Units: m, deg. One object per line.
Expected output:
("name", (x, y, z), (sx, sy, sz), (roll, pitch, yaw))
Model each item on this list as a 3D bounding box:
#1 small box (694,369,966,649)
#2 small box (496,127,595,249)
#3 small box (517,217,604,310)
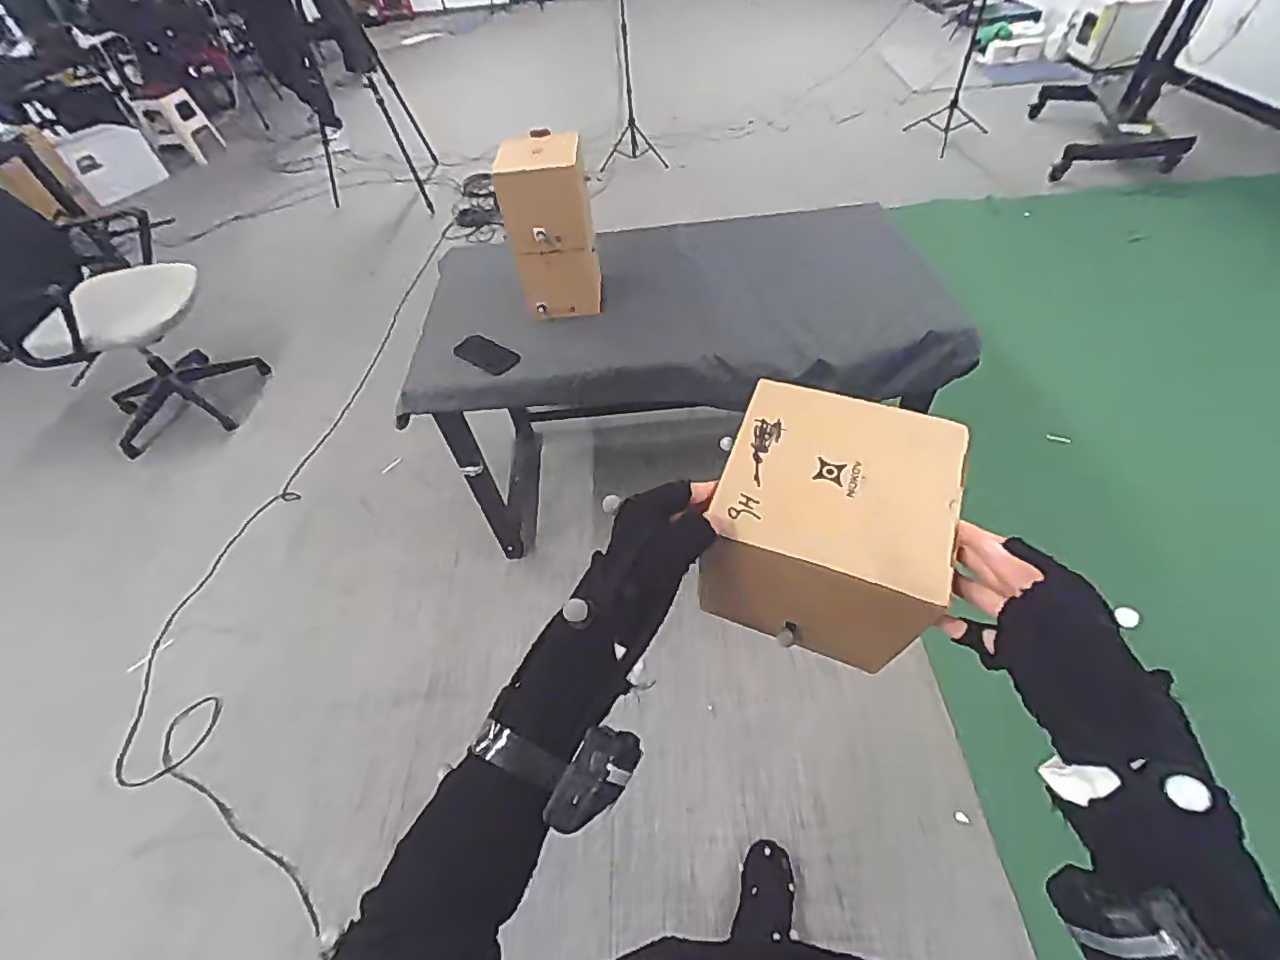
("small box", (0.158, 0.033, 0.488), (0.179, 0.176, 0.168), (18, 59, 15))
("small box", (-0.189, -0.610, 1.135), (0.168, 0.176, 0.179), (-5, 52, 3))
("small box", (-0.178, -0.512, 1.263), (0.168, 0.176, 0.179), (-3, 50, 3))
